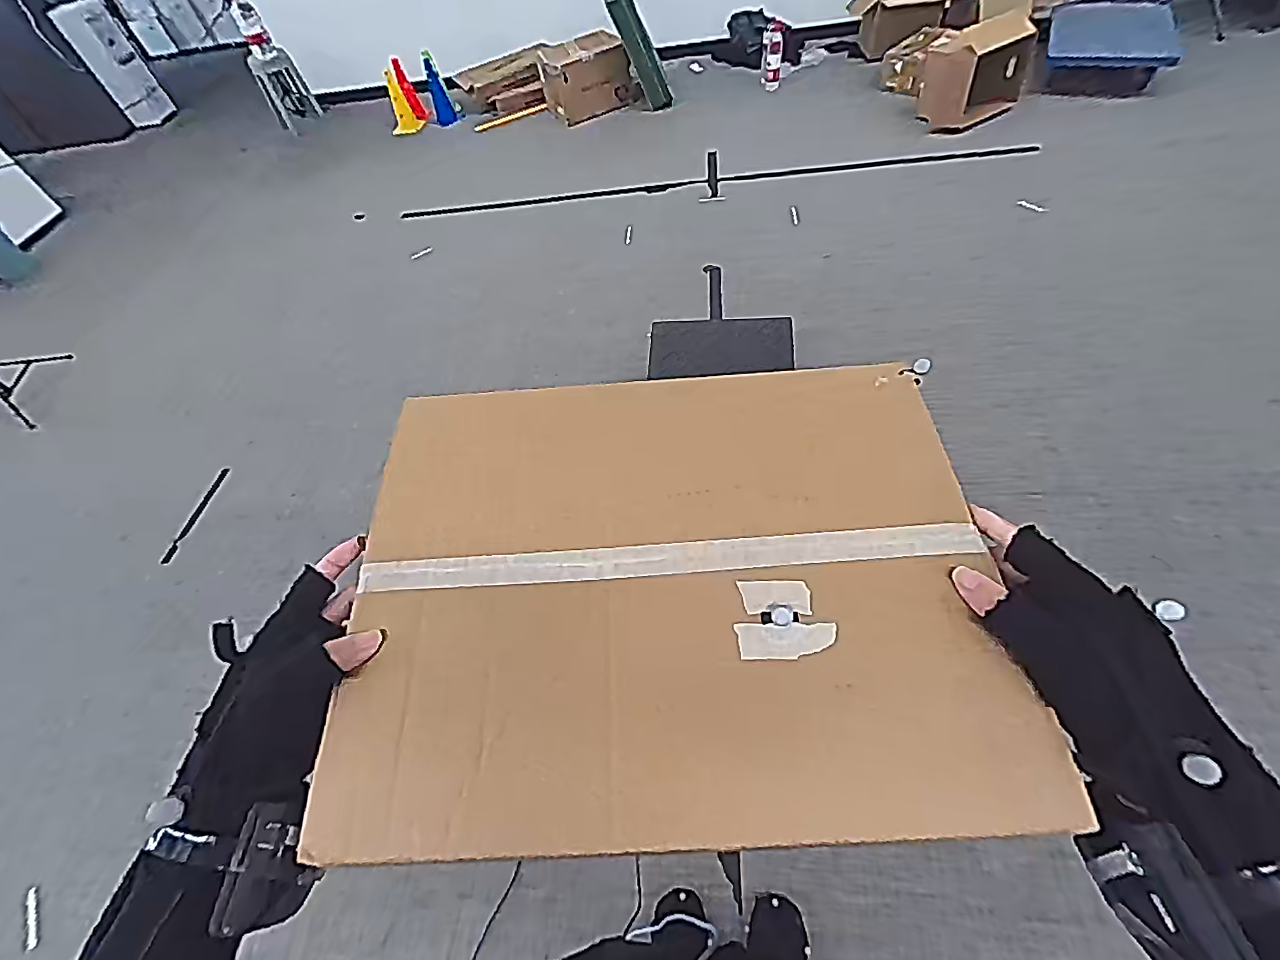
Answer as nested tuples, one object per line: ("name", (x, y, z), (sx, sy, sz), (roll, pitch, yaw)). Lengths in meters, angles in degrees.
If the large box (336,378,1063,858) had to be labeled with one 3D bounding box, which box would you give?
("large box", (0.029, 0.137, 0.494), (0.408, 0.320, 0.320), (-4, 59, 1))
